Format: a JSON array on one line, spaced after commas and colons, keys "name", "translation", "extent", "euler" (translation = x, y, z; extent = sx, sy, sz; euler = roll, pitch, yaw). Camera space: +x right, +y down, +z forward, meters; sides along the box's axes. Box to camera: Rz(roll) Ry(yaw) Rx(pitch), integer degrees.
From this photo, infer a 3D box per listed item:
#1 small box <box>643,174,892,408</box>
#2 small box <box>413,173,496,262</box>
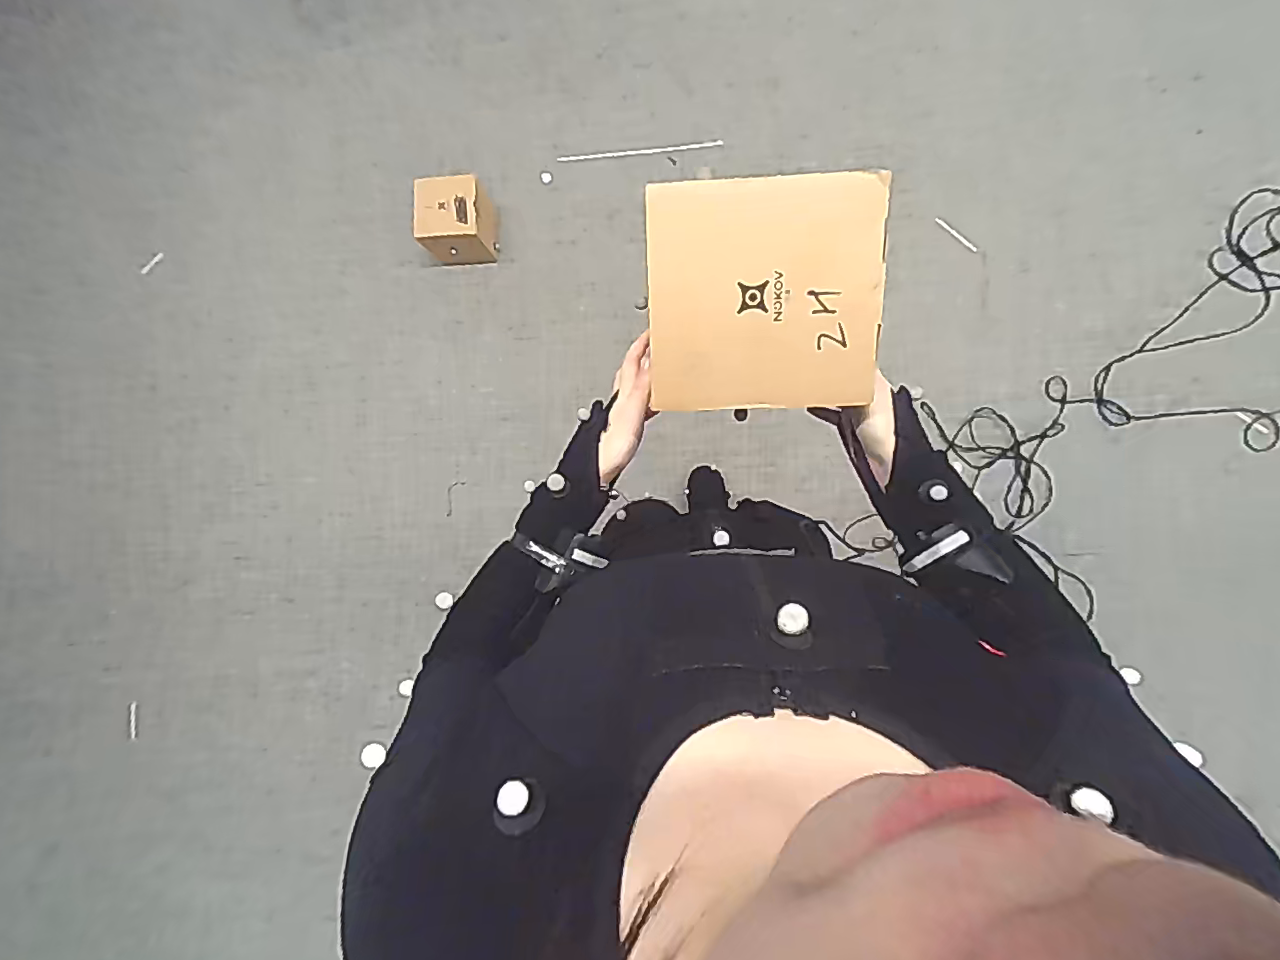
[{"name": "small box", "translation": [0.096, -0.156, 0.479], "extent": [0.179, 0.176, 0.168], "euler": [-1, 106, 3]}, {"name": "small box", "translation": [-0.512, -0.728, 1.513], "extent": [0.179, 0.176, 0.168], "euler": [-1, 88, 6]}]
